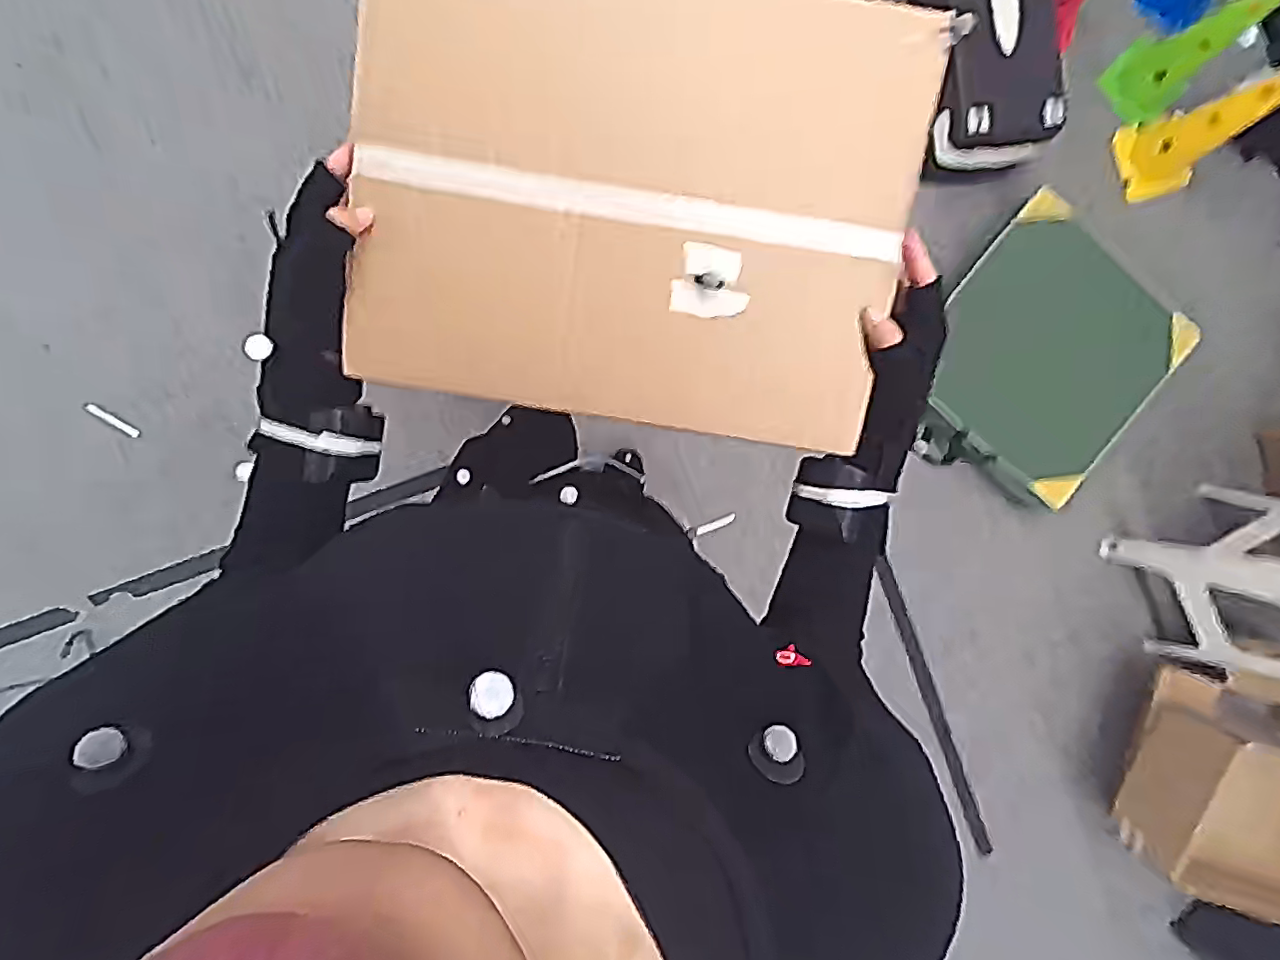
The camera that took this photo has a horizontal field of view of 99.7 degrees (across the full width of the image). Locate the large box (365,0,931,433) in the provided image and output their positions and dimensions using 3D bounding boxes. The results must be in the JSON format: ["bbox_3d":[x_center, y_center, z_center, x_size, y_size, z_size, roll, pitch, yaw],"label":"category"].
[{"bbox_3d":[-0.007,-0.238,0.557,0.408,0.320,0.320,9,101,-2],"label":"large box"}]
